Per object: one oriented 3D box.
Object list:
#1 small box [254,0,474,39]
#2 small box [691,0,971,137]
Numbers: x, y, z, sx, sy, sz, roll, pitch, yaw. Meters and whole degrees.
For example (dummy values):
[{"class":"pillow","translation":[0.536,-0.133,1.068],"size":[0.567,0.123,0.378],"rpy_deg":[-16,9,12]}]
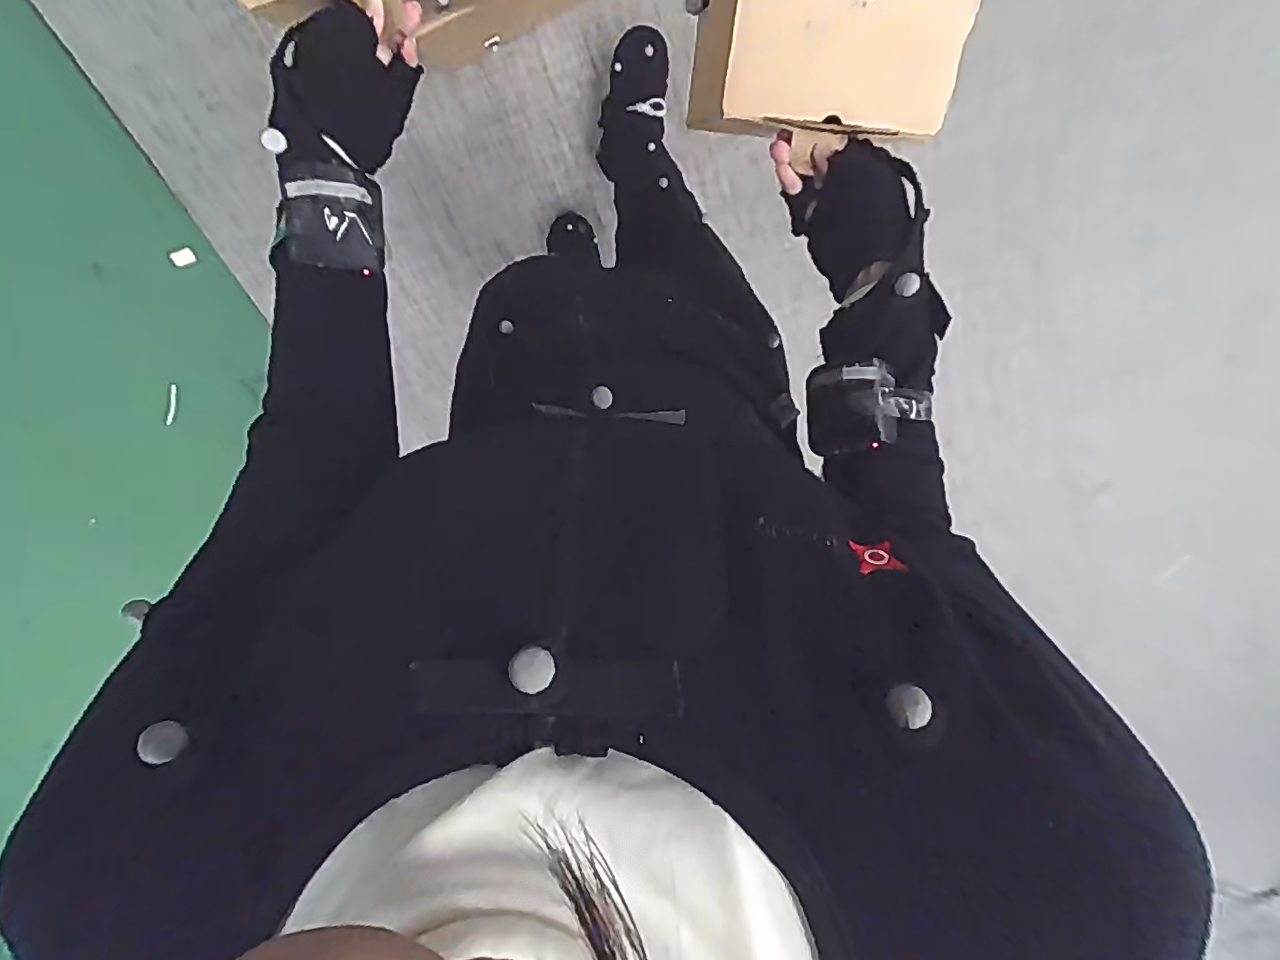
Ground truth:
[{"class":"small box","translation":[-0.216,-0.460,0.395],"size":[0.168,0.176,0.179],"rpy_deg":[-16,117,7]},{"class":"small box","translation":[0.140,-0.380,0.424],"size":[0.168,0.176,0.179],"rpy_deg":[2,121,-7]}]
